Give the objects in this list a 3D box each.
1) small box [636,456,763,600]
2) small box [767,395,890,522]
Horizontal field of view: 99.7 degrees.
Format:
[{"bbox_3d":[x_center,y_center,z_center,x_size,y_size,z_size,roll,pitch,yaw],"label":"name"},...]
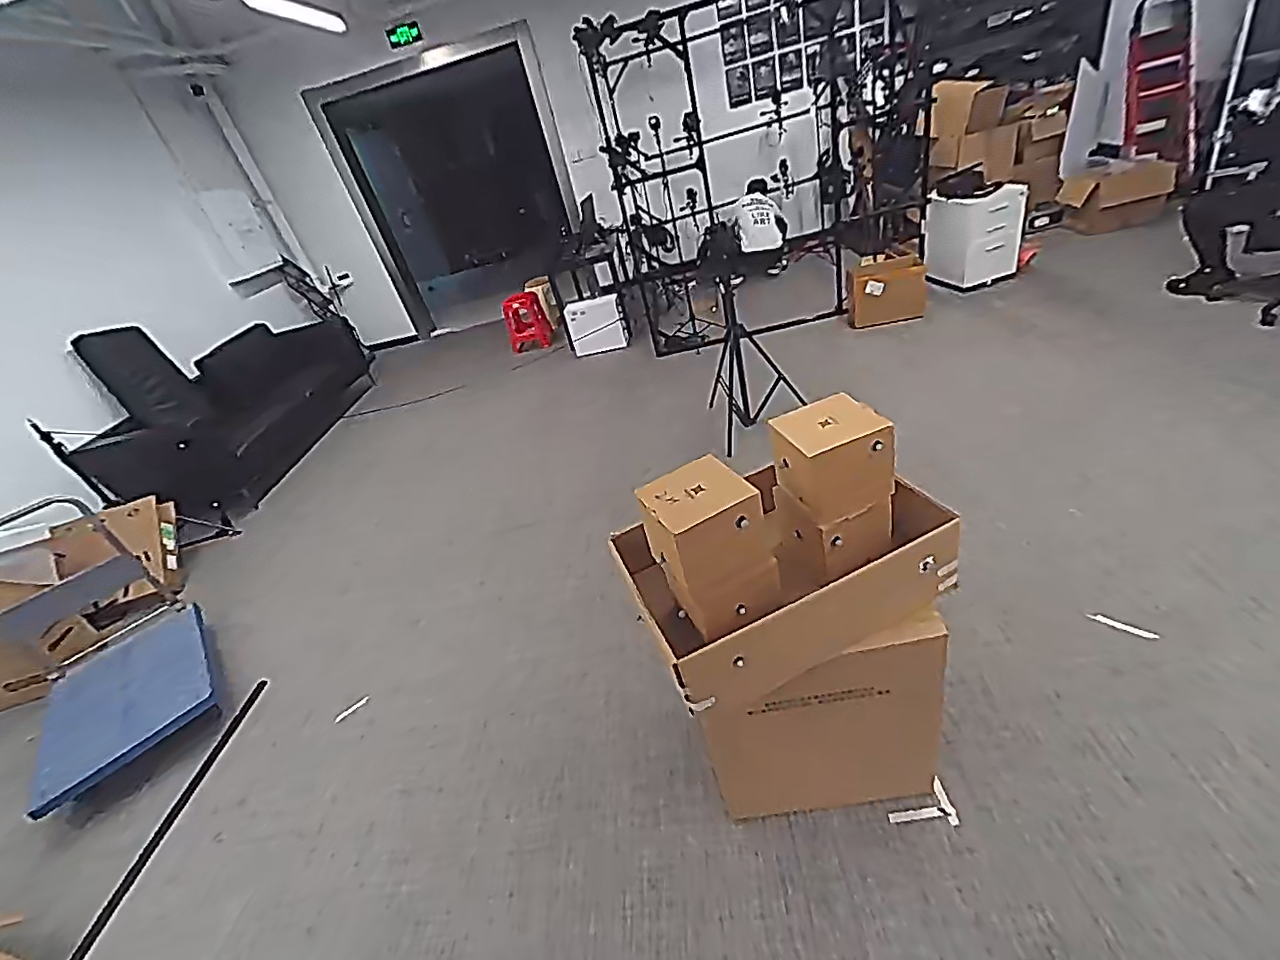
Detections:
[{"bbox_3d":[0.116,0.088,1.015,0.179,0.176,0.168,-26,35,-13],"label":"small box"},{"bbox_3d":[0.381,-0.043,1.089,0.179,0.176,0.168,-21,34,-6],"label":"small box"}]
